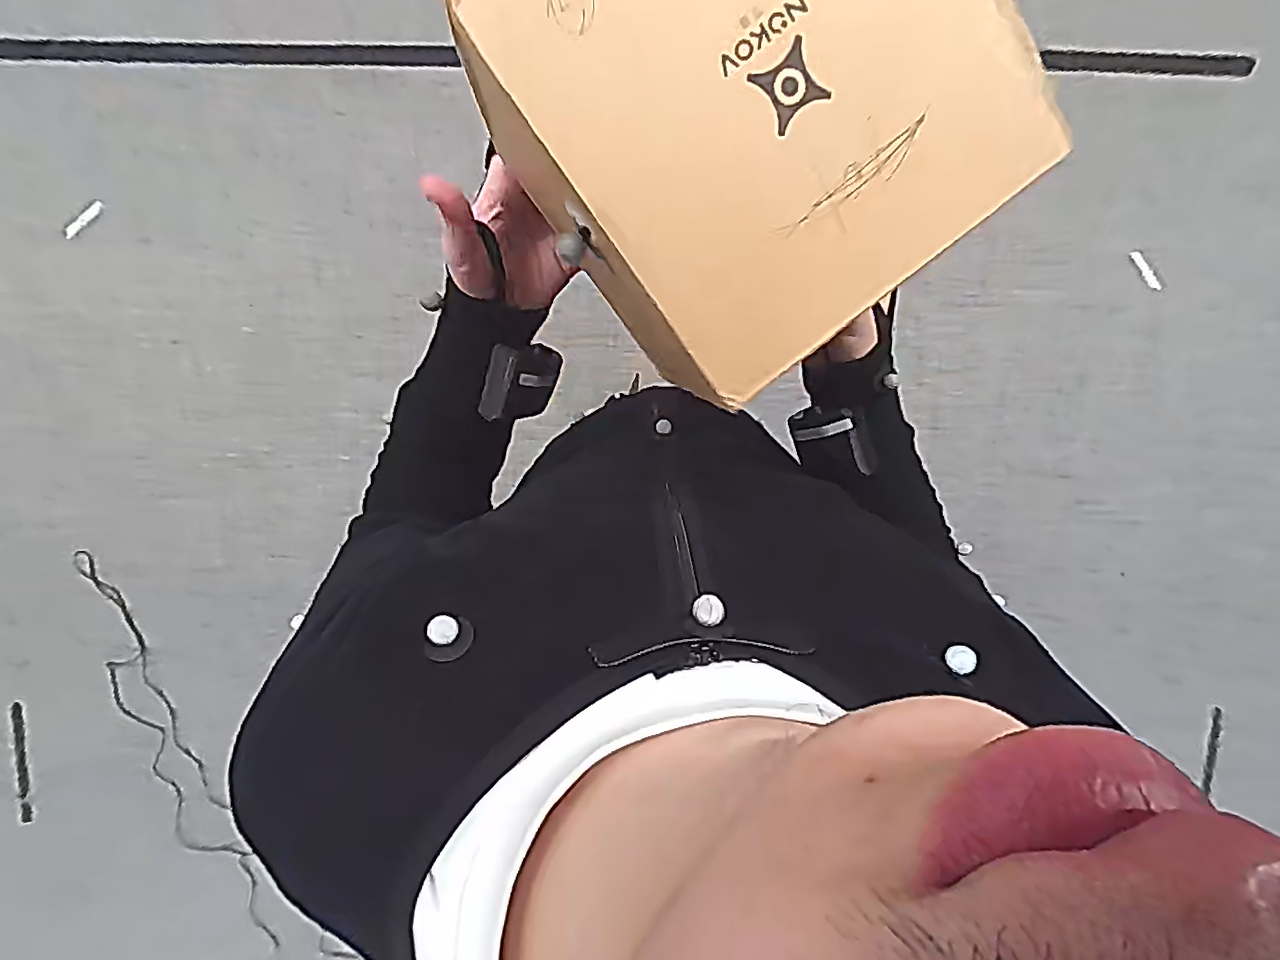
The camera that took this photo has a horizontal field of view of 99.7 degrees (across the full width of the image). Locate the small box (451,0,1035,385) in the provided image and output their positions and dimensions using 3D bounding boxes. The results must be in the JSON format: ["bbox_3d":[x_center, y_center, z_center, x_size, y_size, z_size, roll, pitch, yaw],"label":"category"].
[{"bbox_3d":[0.037,-0.170,0.279,0.168,0.176,0.179,-39,106,4],"label":"small box"}]
